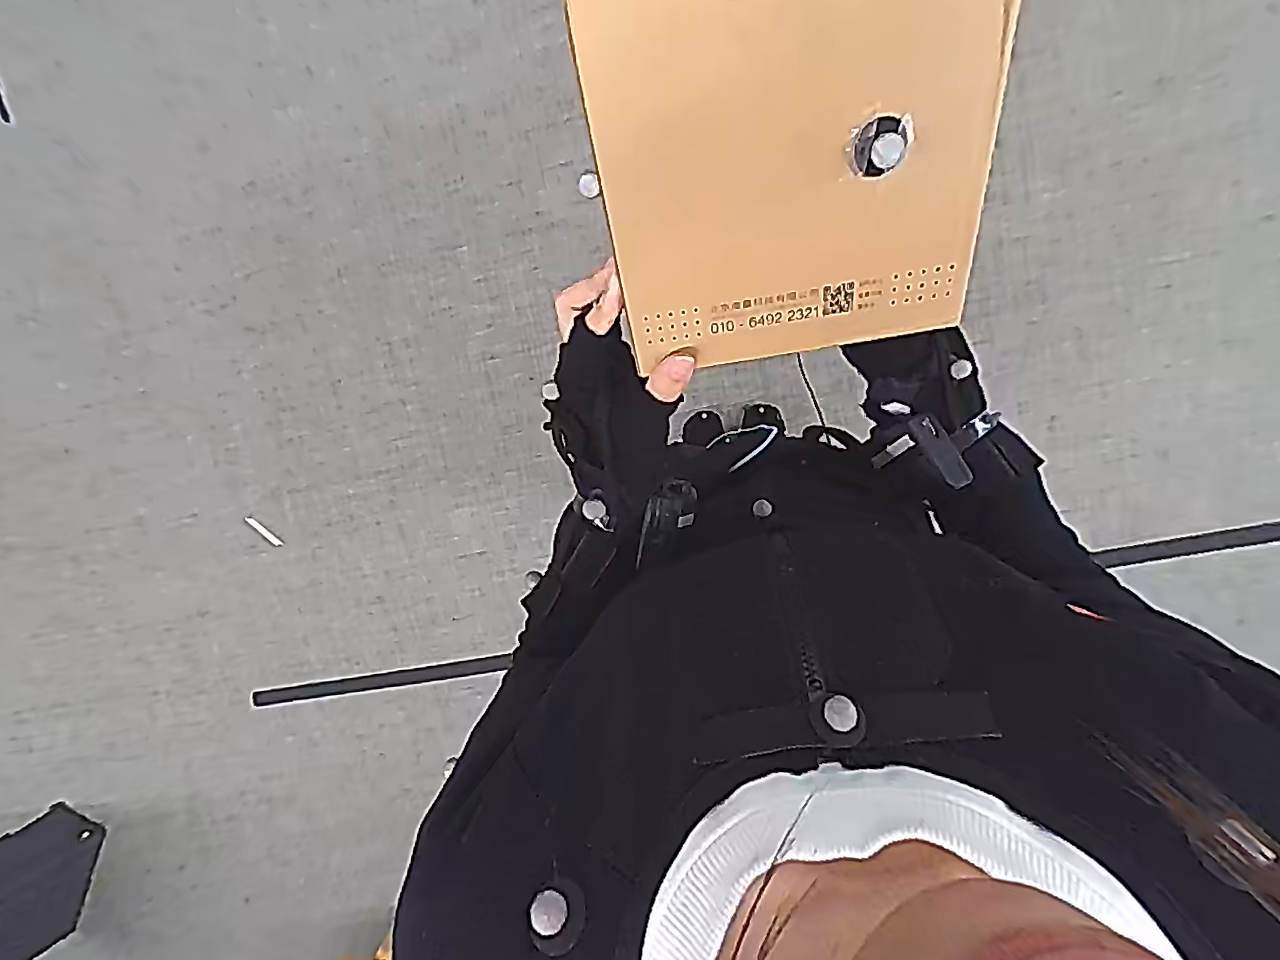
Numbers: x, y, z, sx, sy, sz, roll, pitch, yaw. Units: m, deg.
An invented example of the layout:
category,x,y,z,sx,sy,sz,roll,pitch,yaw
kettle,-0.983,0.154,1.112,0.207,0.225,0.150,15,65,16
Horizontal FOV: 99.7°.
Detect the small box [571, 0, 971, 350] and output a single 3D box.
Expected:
category,x,y,z,sx,sy,sz,roll,pitch,yaw
small box,0.068,-0.187,0.319,0.168,0.179,0.176,-7,128,7
